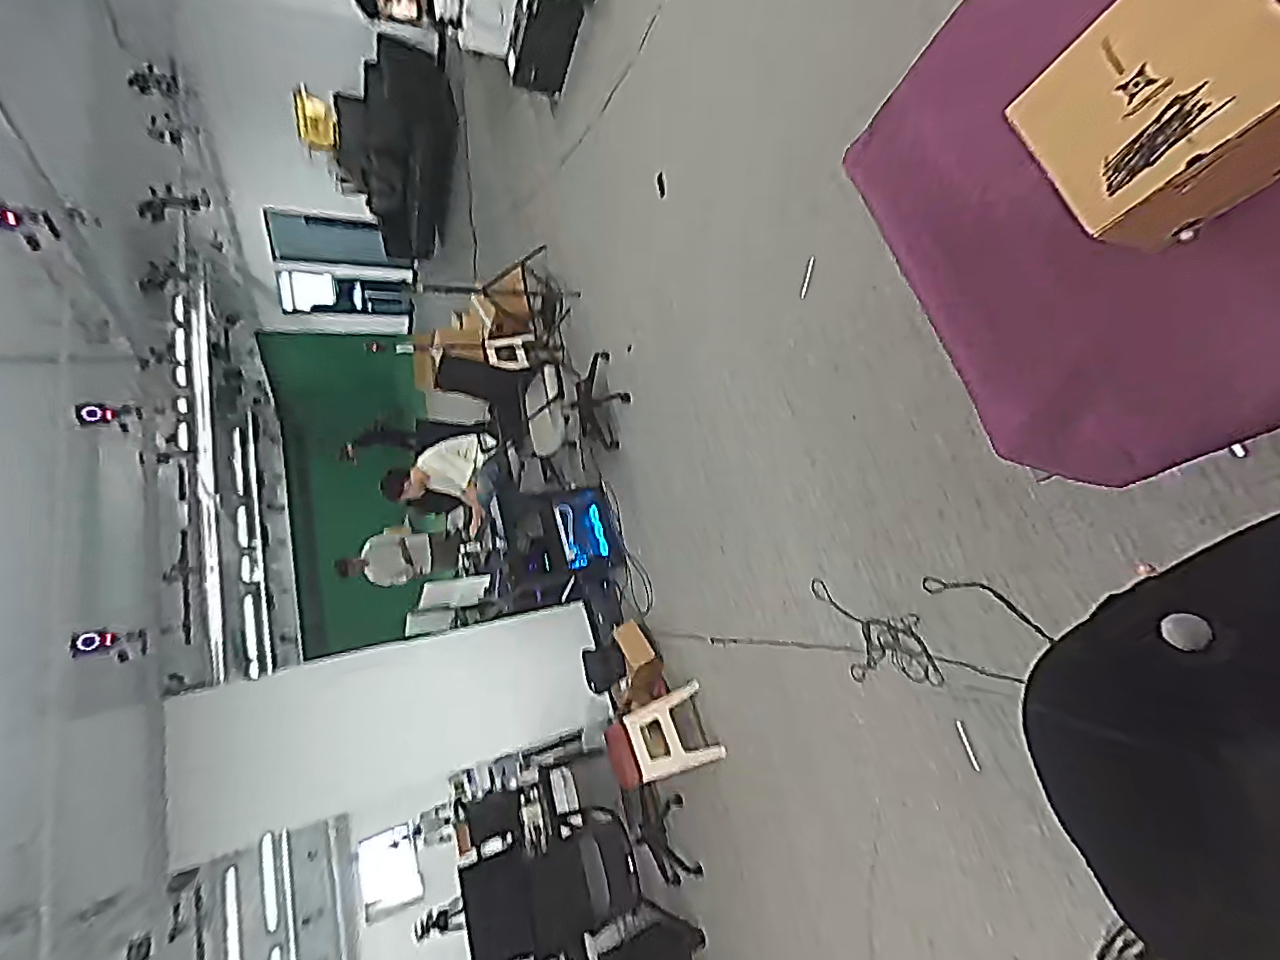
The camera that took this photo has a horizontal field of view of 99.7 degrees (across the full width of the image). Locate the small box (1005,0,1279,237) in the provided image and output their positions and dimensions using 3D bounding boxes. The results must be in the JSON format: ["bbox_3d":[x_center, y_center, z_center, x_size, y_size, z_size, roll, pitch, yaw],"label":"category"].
[{"bbox_3d":[0.512,-0.357,0.518,0.168,0.176,0.179,-44,59,55],"label":"small box"}]
